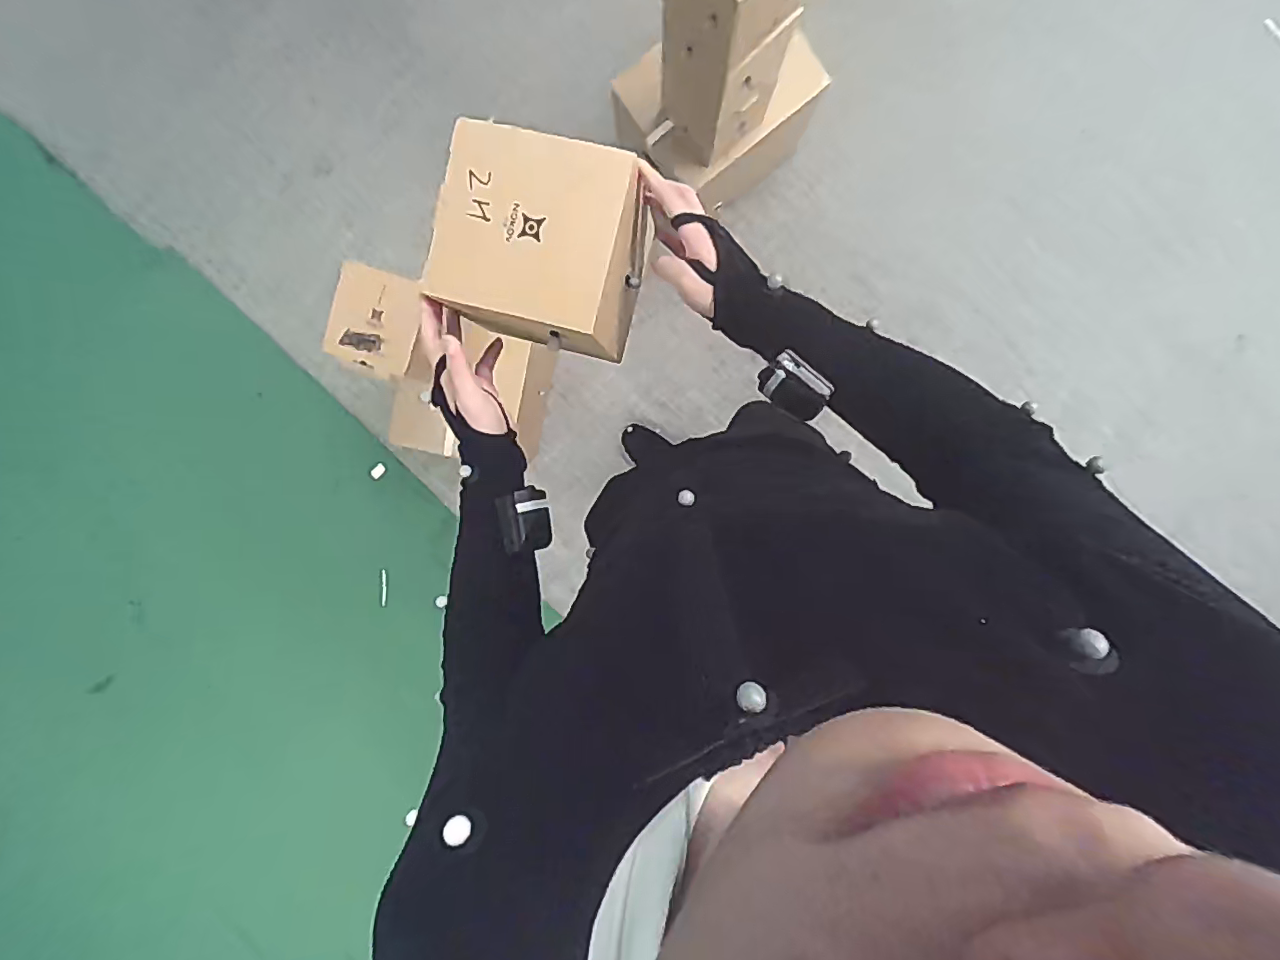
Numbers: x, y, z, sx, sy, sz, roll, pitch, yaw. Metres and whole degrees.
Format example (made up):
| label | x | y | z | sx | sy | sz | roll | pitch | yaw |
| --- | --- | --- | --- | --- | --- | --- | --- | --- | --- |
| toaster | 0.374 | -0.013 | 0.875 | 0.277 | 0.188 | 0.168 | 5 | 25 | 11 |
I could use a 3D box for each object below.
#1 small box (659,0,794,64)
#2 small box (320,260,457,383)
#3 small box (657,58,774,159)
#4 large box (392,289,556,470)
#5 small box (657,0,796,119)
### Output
| label | x | y | z | sx | sy | sz | roll | pitch | yaw |
| --- | --- | --- | --- | --- | --- | --- | --- | --- | --- |
| small box | 0.138 | -0.785 | 0.818 | 0.168 | 0.176 | 0.179 | -41 | 93 | 5 |
| small box | -0.482 | -0.298 | 1.060 | 0.168 | 0.176 | 0.179 | 19 | 97 | 0 |
| small box | 0.151 | -0.819 | 1.141 | 0.168 | 0.176 | 0.179 | -40 | 95 | 6 |
| large box | -0.434 | -0.267 | 1.475 | 0.320 | 0.320 | 0.408 | 12 | 98 | 2 |
| small box | 0.149 | -0.801 | 0.980 | 0.168 | 0.176 | 0.179 | -40 | 93 | 6 |
